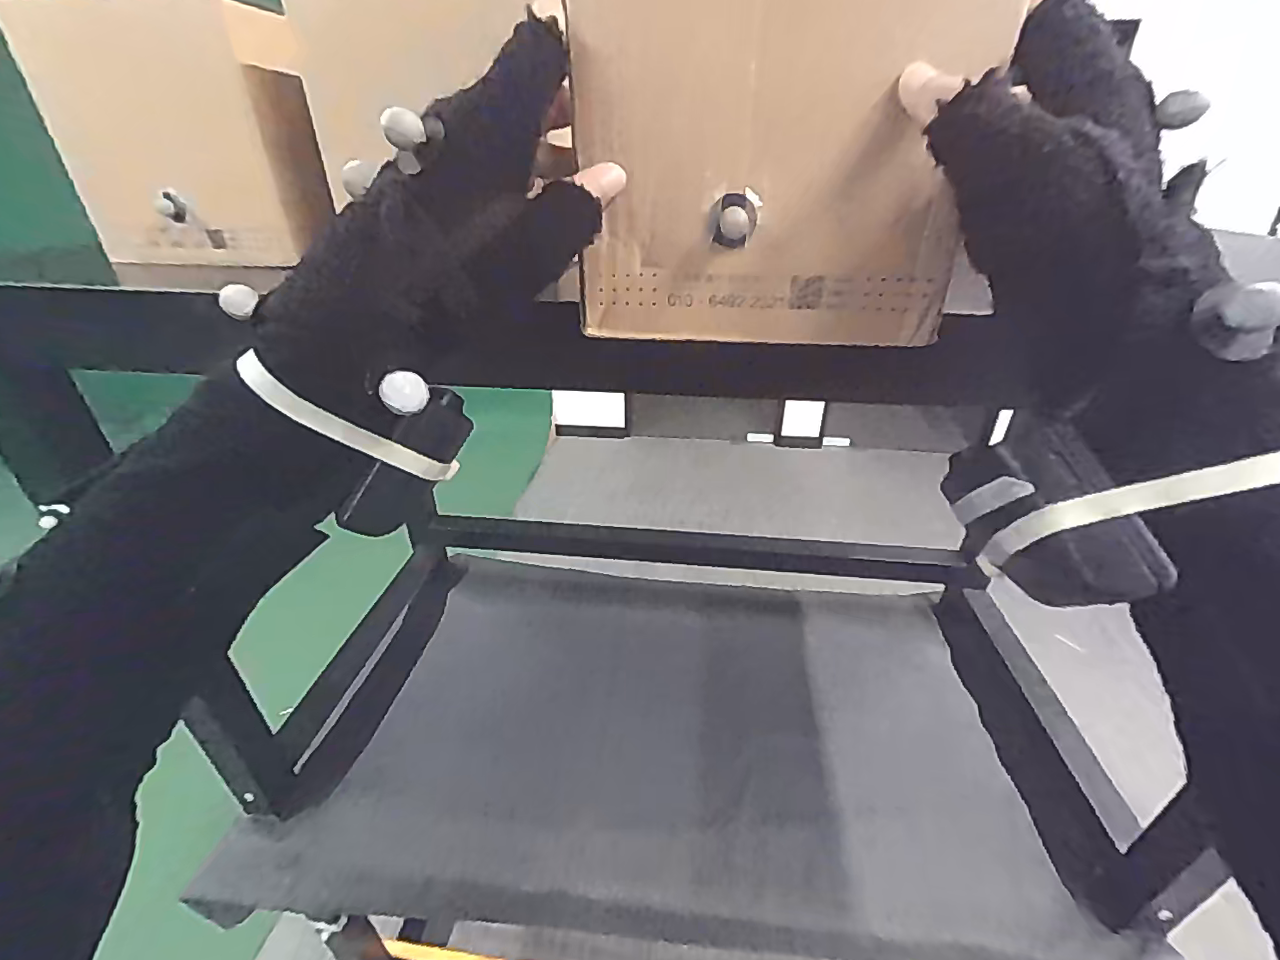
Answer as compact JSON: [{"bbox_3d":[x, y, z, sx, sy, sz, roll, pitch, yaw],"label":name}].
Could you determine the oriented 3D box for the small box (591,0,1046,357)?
[{"bbox_3d":[0.067,-0.176,0.288,0.168,0.176,0.179,3,32,4],"label":"small box"}]

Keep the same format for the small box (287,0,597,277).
[{"bbox_3d":[-0.125,-0.264,0.432,0.168,0.176,0.179,5,31,6],"label":"small box"}]
